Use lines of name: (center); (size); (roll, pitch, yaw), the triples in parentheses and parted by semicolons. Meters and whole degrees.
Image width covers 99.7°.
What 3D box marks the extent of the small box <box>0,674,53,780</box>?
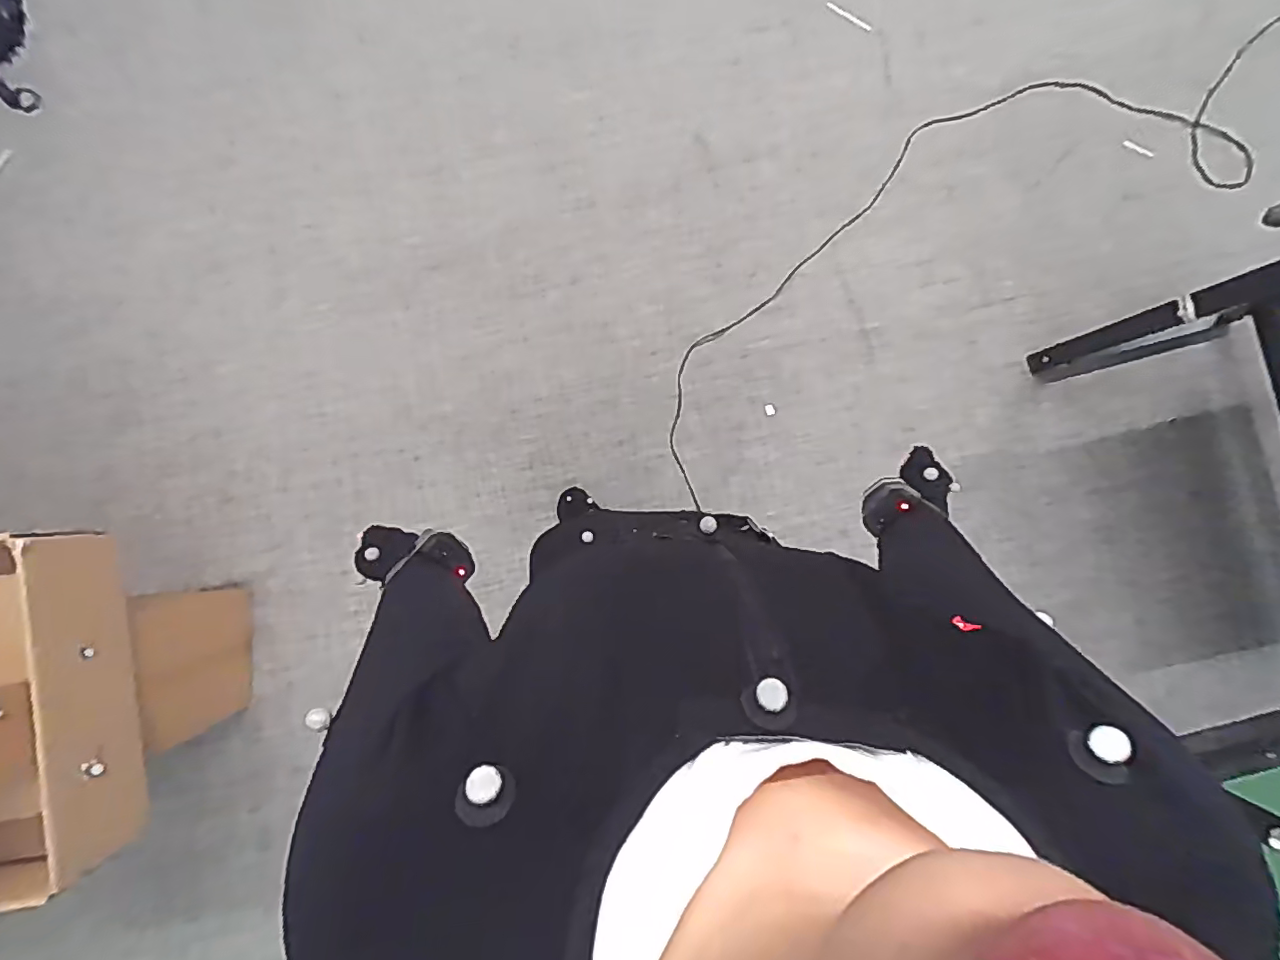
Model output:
small box: (-1.210, 0.459, 0.962); (0.179, 0.176, 0.168); (-10, 85, 2)
